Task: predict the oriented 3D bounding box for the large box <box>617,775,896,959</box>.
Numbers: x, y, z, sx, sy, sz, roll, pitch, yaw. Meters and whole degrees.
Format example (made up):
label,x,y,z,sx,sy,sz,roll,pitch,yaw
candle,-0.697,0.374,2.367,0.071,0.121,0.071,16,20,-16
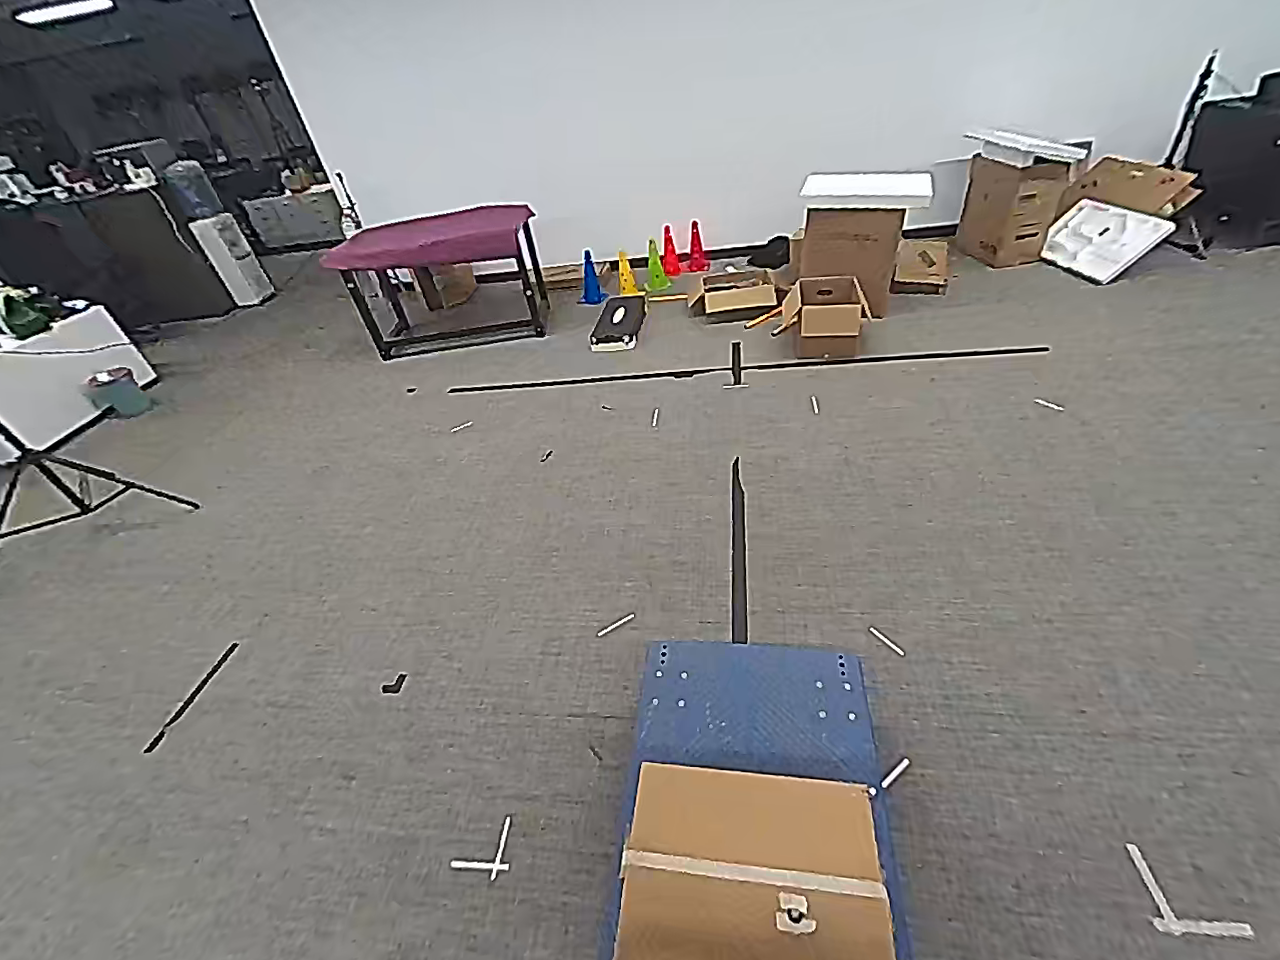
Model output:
label,x,y,z,sx,sy,sz,roll,pitch,yaw
large box,0.193,0.754,0.940,0.408,0.320,0.320,0,40,11
